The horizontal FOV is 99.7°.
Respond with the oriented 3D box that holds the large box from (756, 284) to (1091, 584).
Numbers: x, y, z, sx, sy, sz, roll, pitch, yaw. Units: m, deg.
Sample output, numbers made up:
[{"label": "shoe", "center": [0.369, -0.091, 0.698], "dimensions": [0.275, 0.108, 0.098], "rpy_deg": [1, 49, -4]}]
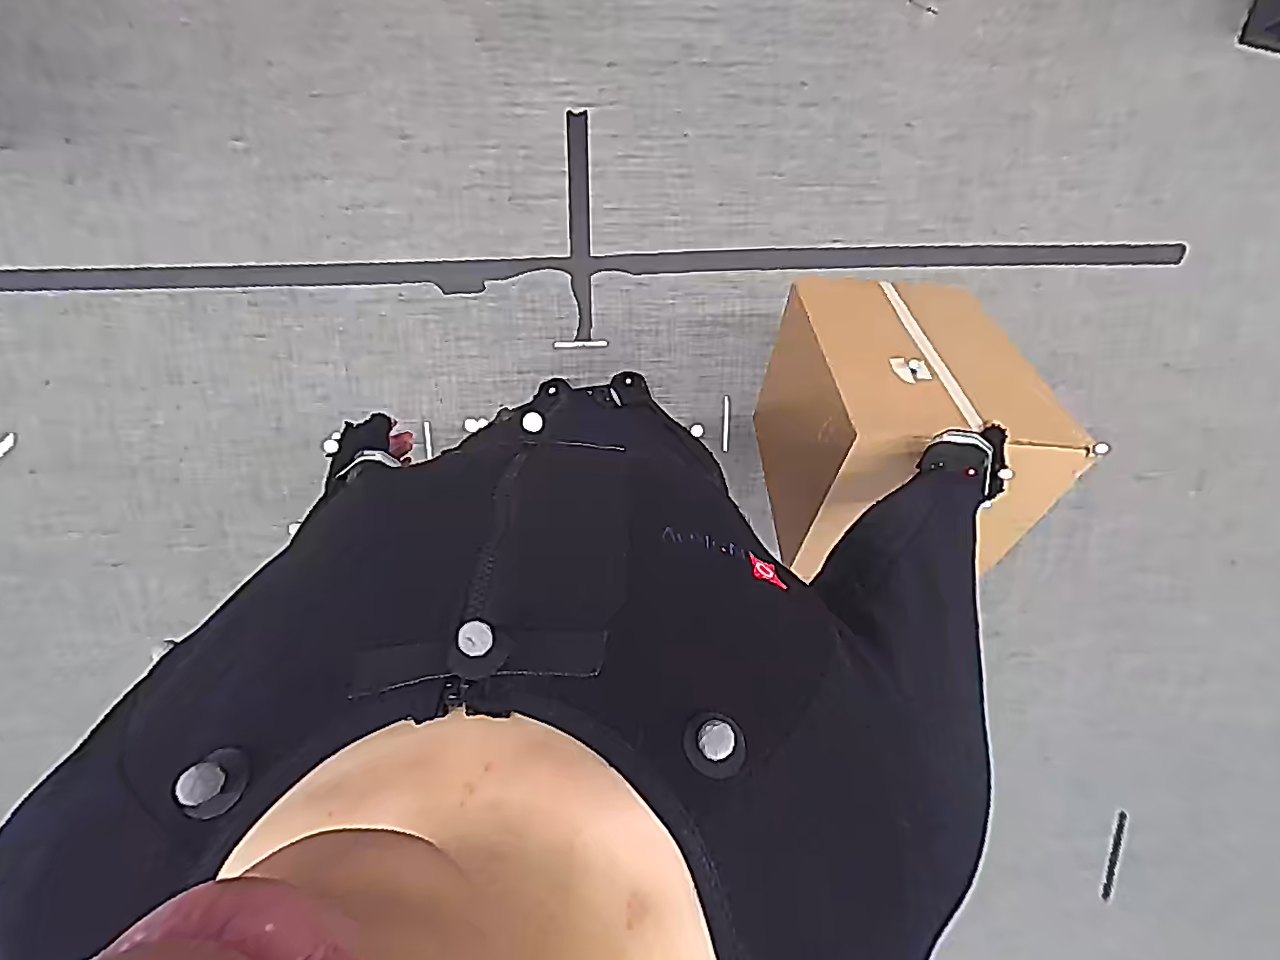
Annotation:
[{"label": "large box", "center": [0.409, -0.081, 0.918], "dimensions": [0.320, 0.408, 0.320], "rpy_deg": [3, 138, -3]}]
